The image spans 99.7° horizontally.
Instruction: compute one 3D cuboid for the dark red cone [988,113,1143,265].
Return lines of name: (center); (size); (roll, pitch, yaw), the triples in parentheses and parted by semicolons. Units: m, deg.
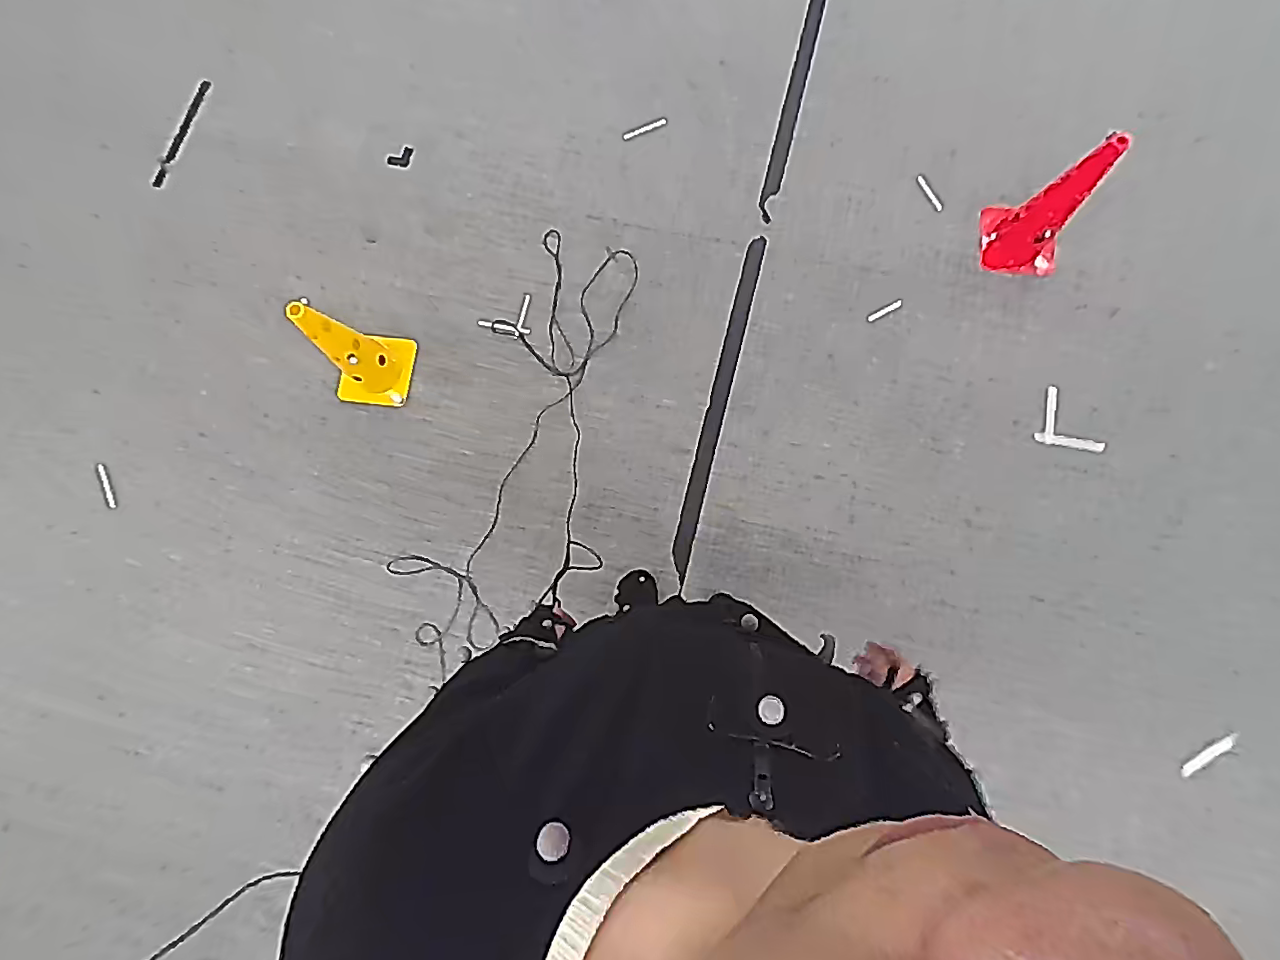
dark red cone: (1.042, -0.714, 1.313); (0.201, 0.394, 0.202); (5, 80, 5)
